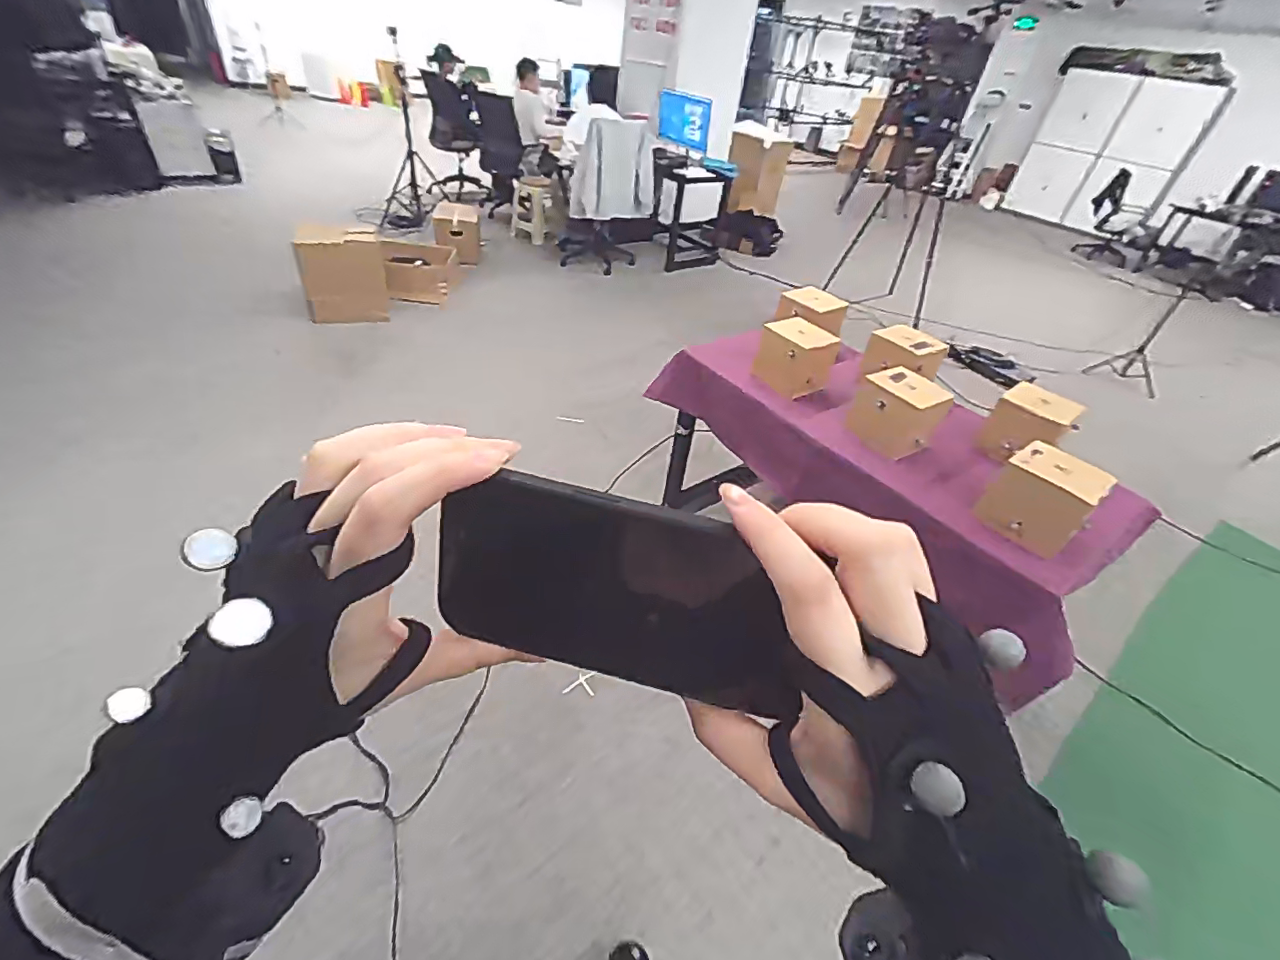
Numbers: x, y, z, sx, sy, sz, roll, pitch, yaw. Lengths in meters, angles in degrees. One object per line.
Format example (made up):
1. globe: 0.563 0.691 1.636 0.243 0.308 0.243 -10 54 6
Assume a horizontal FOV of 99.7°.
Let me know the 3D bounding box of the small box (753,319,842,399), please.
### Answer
1. small box: 0.476 -0.372 1.658 0.168 0.176 0.179 -20 48 -31

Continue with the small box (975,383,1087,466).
1. small box: 1.061 -0.139 1.480 0.179 0.176 0.168 -24 49 -33

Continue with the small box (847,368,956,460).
1. small box: 0.698 -0.179 1.463 0.168 0.176 0.179 -19 47 -29

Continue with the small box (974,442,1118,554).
1. small box: 0.914 0.046 1.228 0.168 0.176 0.179 -22 48 -33
